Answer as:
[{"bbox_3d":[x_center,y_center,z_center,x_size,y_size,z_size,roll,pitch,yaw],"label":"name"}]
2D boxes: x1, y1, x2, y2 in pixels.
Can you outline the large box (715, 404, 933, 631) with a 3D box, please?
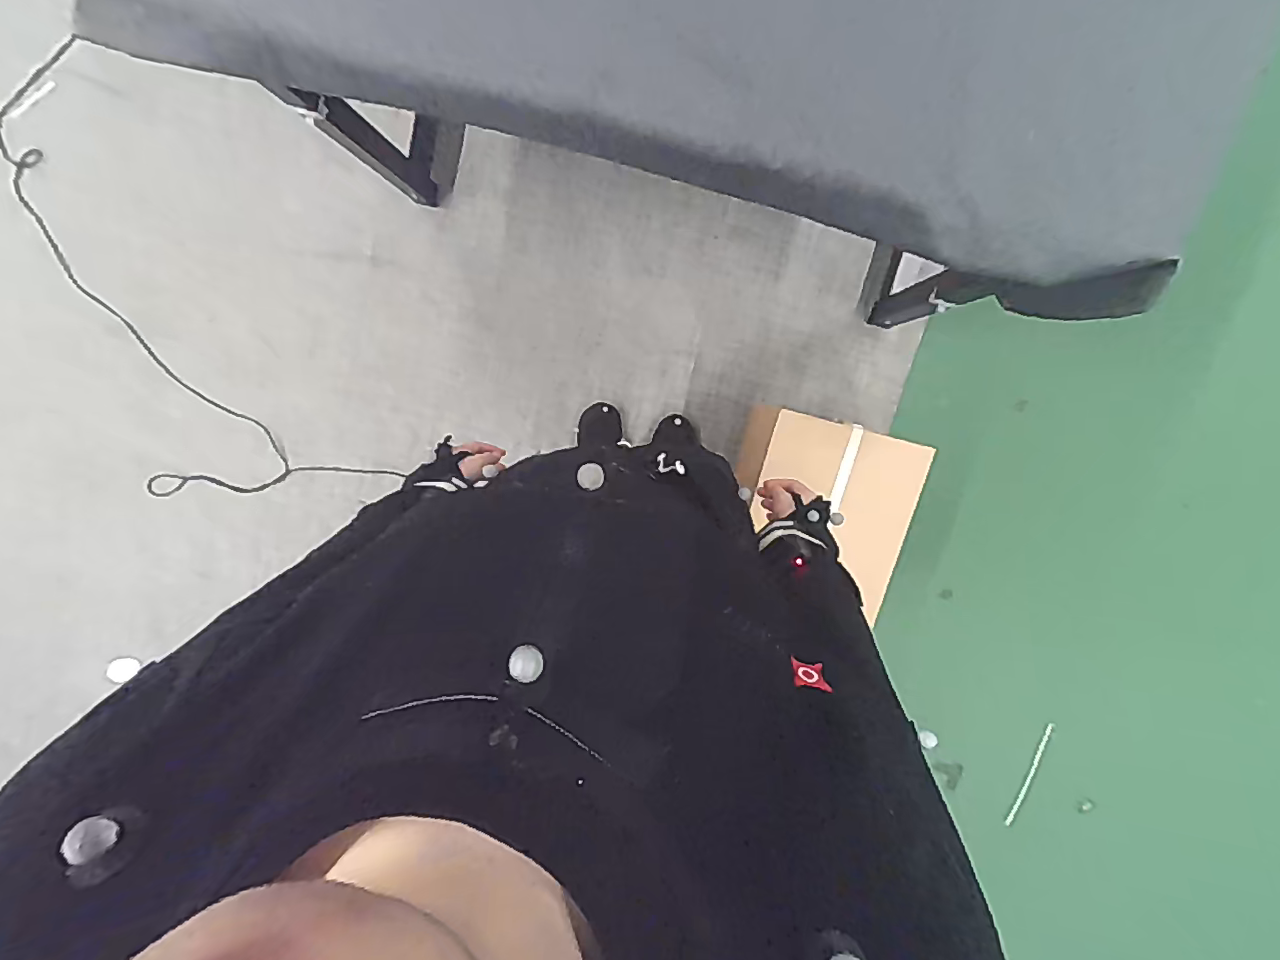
[{"bbox_3d":[0.378,0.059,1.213,0.320,0.320,0.408,15,100,1],"label":"large box"}]
